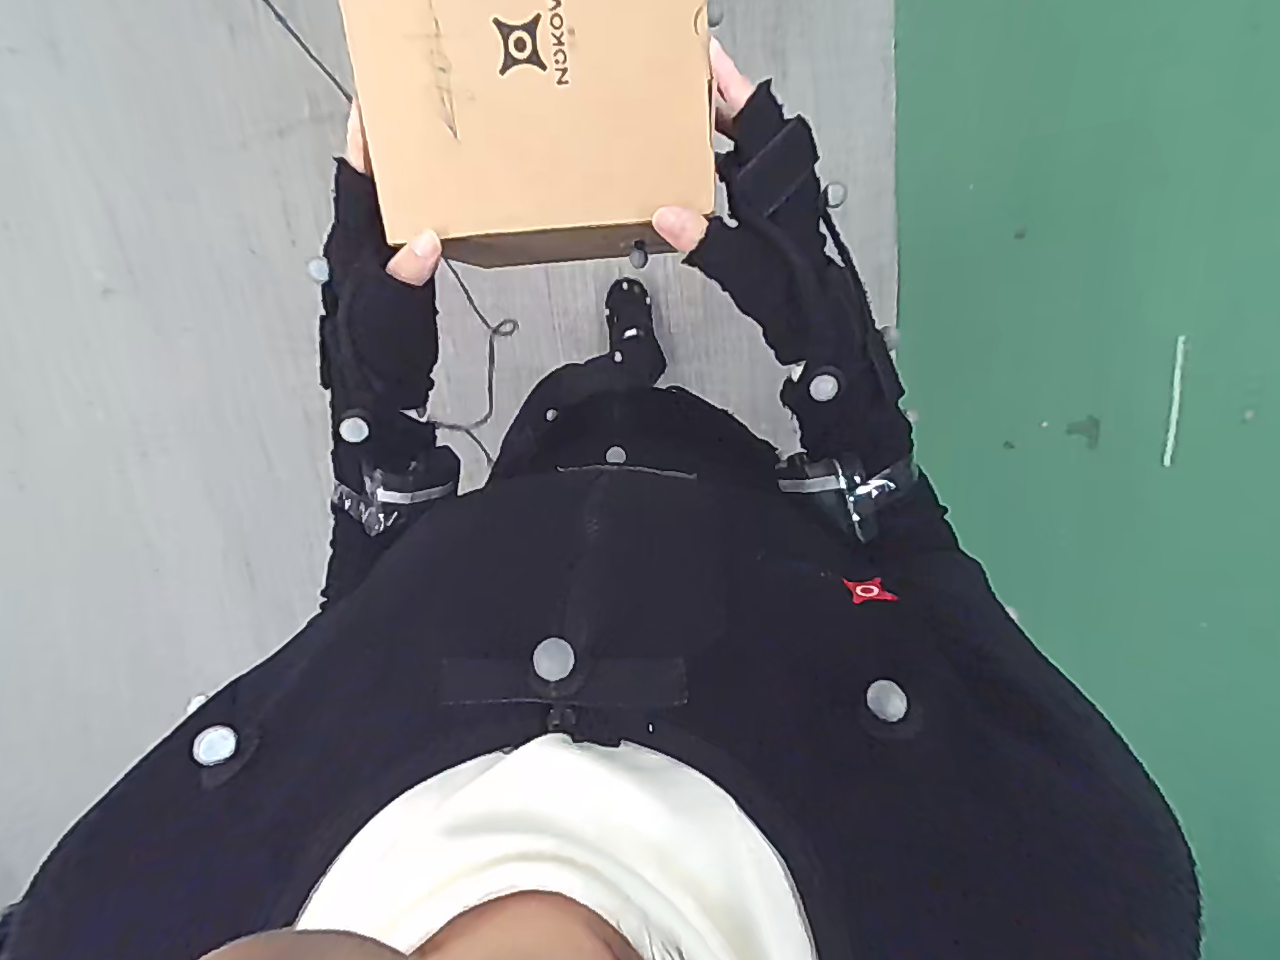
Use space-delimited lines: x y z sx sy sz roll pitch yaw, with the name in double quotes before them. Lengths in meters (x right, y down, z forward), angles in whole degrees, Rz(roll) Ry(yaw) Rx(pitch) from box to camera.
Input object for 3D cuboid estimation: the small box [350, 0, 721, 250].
"small box" -0.049 -0.246 0.335 0.179 0.176 0.168 -4 106 5
